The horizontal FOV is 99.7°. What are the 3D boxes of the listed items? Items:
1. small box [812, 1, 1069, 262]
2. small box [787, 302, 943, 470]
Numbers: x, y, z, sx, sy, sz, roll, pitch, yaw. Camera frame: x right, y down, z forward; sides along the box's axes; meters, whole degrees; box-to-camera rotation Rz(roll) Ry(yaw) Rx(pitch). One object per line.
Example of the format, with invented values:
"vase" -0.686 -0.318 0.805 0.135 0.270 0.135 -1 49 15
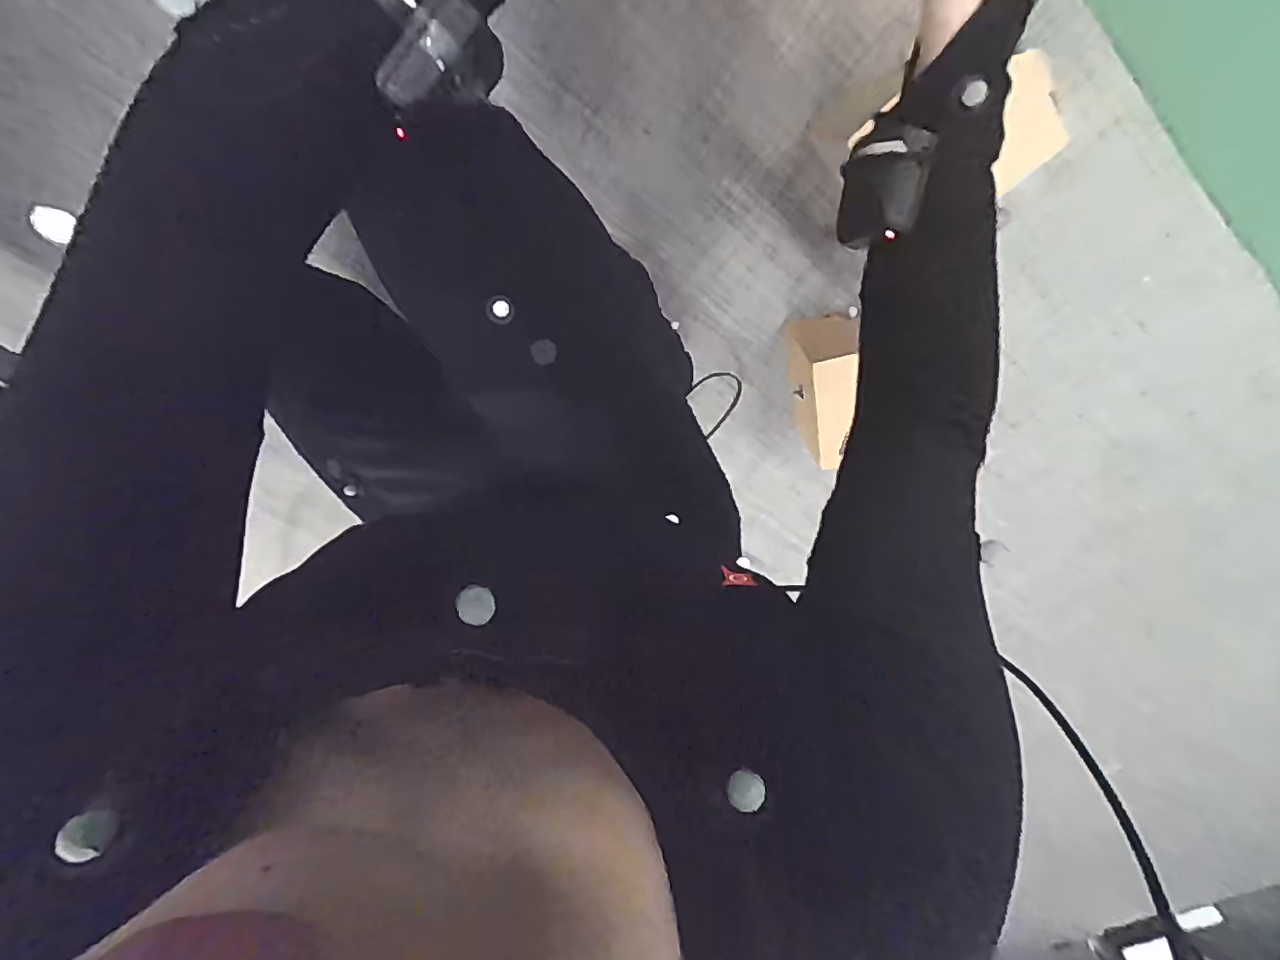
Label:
"small box" 0.333 -0.395 0.629 0.179 0.176 0.168 -37 118 23
"small box" 0.323 -0.143 0.806 0.168 0.176 0.179 -11 123 7
